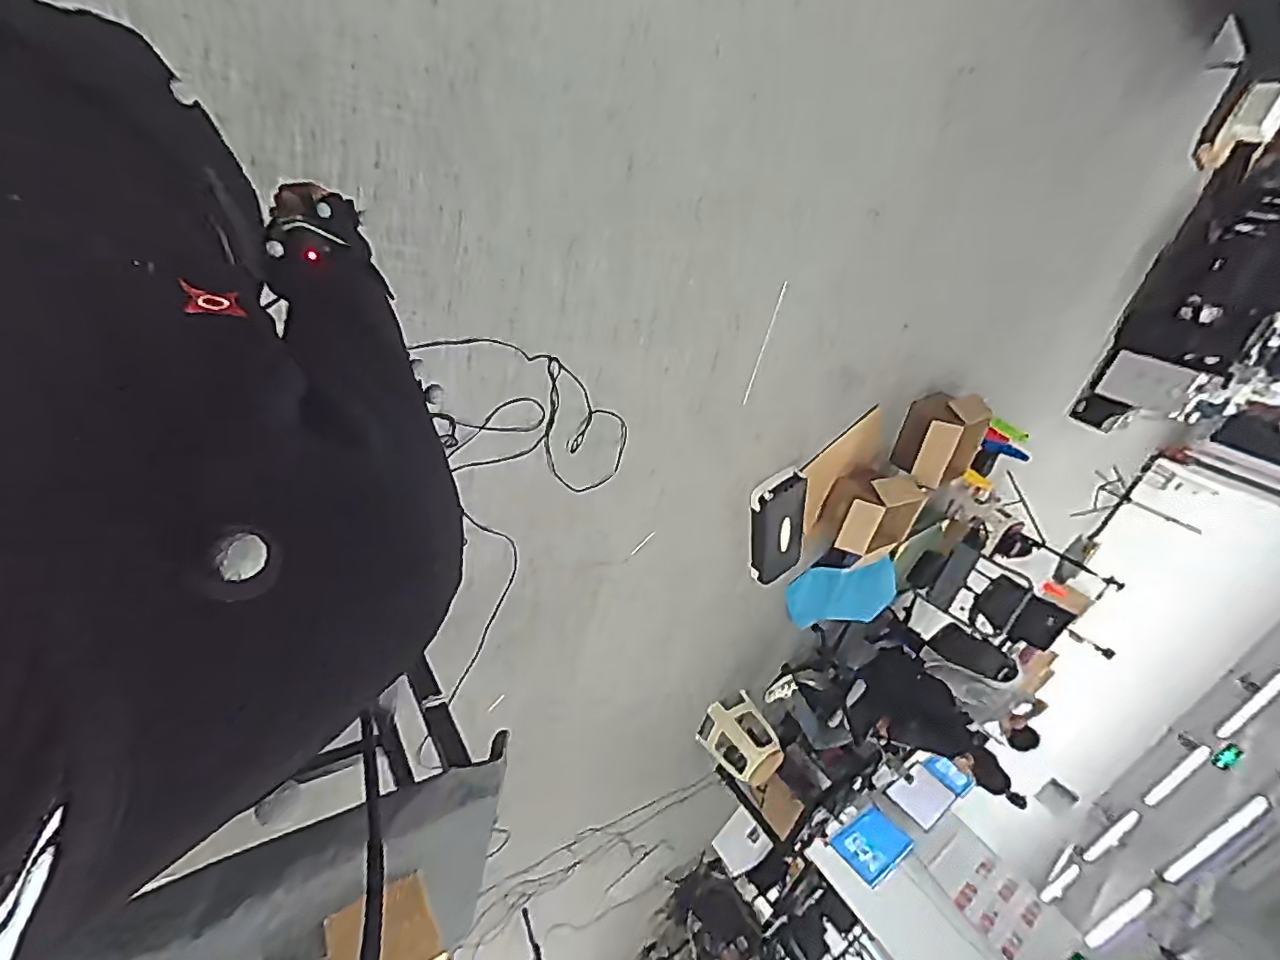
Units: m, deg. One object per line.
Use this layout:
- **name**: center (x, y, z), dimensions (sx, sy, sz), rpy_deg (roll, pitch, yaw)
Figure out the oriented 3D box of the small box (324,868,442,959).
- **small box**: center (-0.512, 0.926, 1.072), dimensions (0.179, 0.176, 0.168), rpy_deg (-7, 125, -37)
